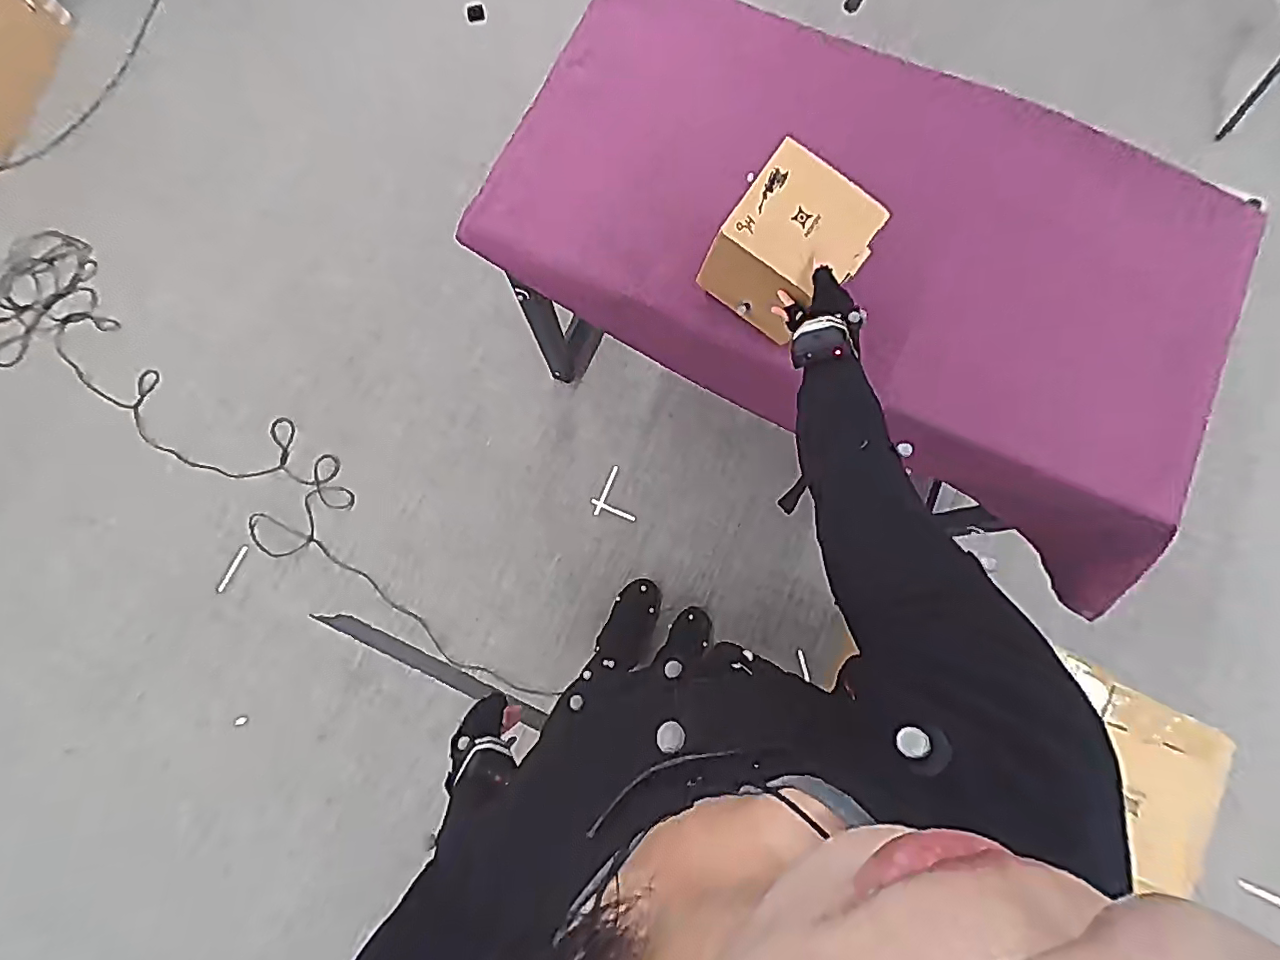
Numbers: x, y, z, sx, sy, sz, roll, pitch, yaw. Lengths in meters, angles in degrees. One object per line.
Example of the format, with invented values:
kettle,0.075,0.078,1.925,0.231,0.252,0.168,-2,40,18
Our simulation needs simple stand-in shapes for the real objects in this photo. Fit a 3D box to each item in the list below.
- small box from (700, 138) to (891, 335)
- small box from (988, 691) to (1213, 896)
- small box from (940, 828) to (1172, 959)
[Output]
small box,0.214,-0.335,0.790,0.179,0.176,0.168,36,84,-4
small box,0.639,0.425,0.772,0.168,0.176,0.179,20,82,6
small box,0.544,0.625,0.734,0.168,0.176,0.179,25,79,5
